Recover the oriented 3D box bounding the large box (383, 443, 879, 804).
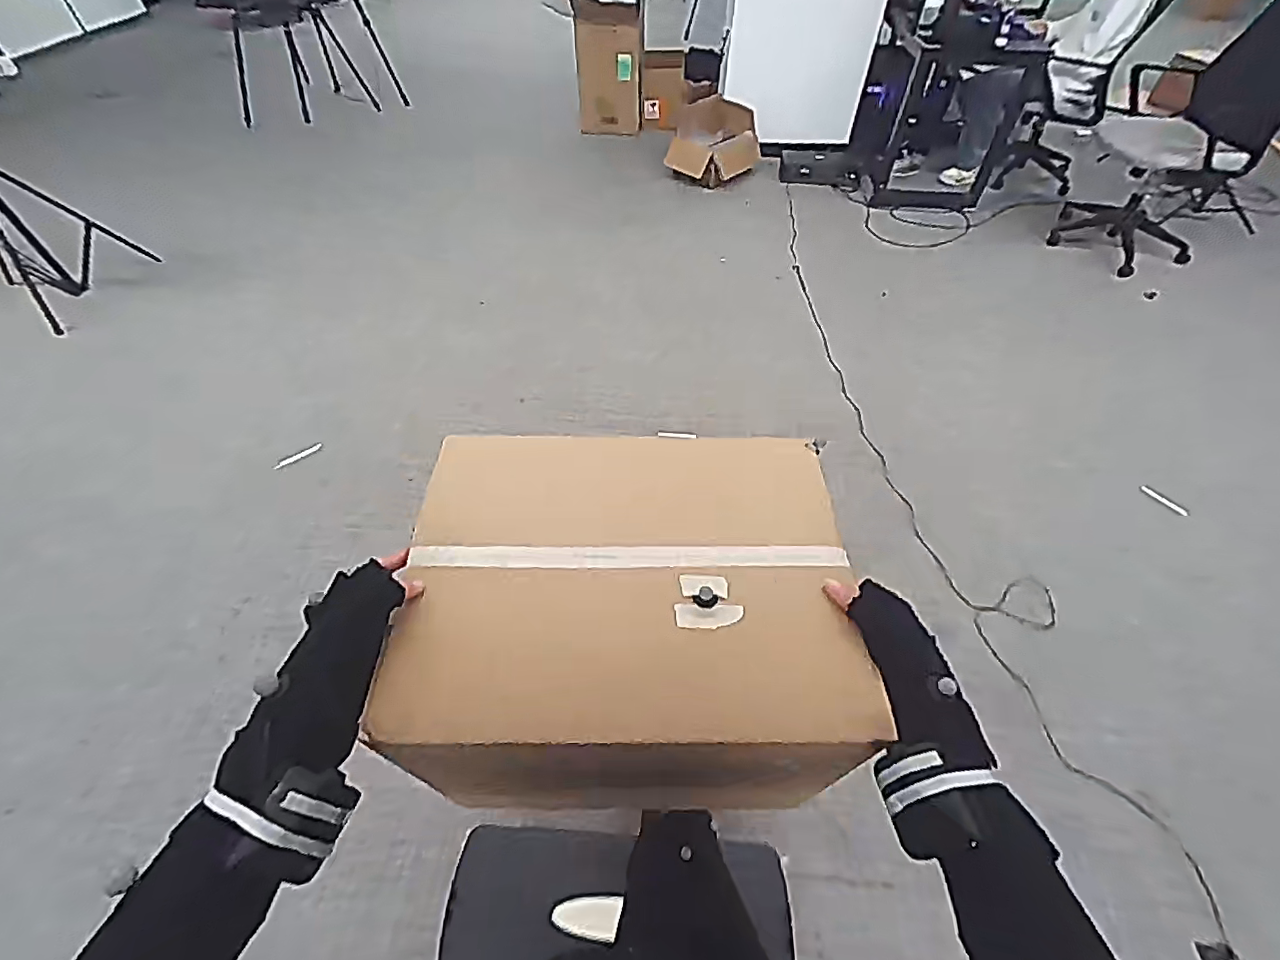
[{"bbox_3d":[-0.011,0.171,0.633,0.408,0.320,0.320,1,50,-1],"label":"large box"}]
